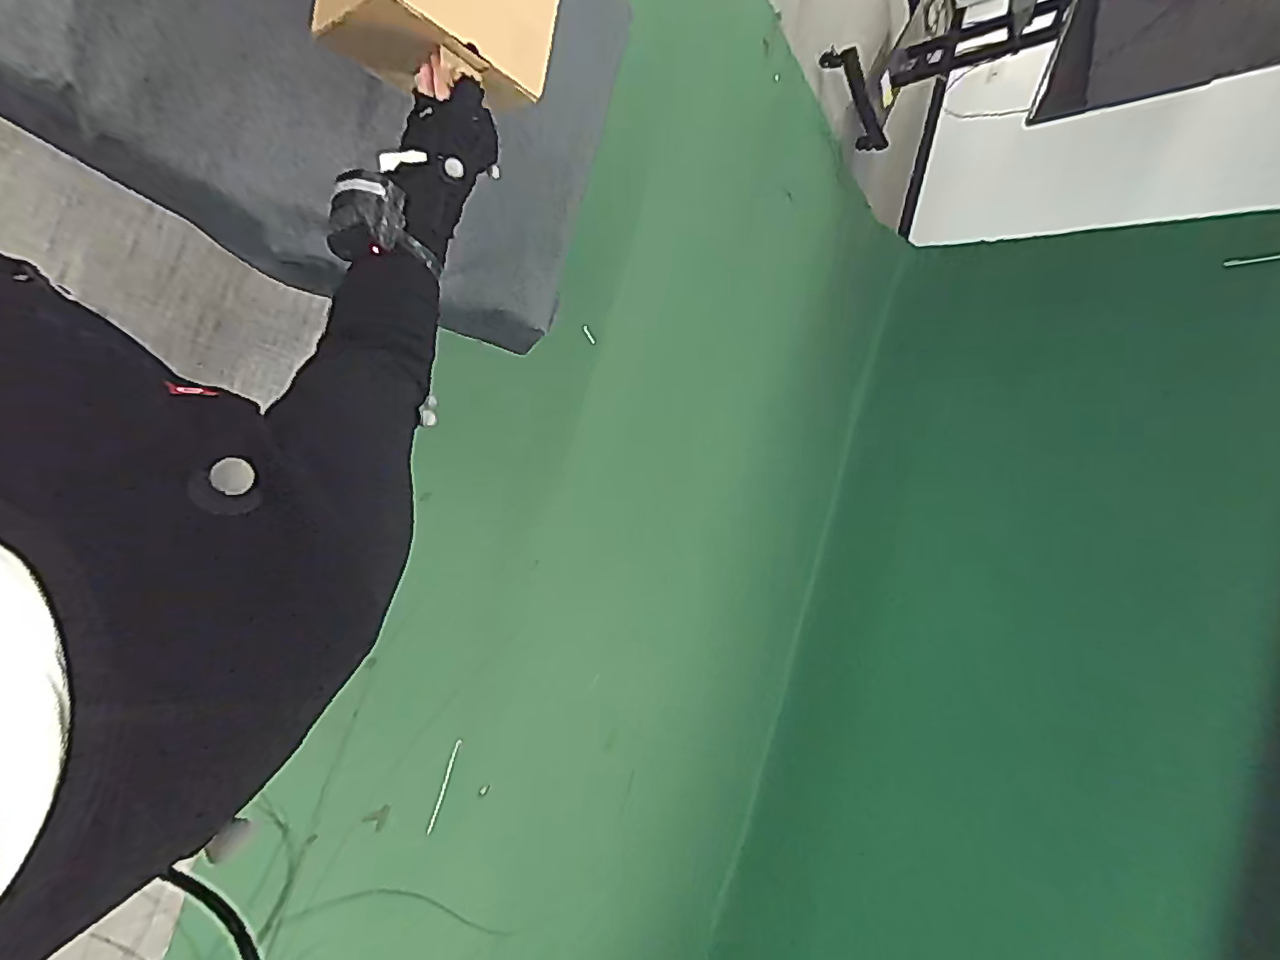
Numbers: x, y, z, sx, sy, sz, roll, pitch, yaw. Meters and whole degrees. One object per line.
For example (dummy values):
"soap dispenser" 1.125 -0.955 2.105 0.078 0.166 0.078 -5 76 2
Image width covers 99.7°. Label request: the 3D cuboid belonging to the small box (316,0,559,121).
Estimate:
"small box" -0.200 -0.496 0.544 0.168 0.176 0.179 2 105 -52
